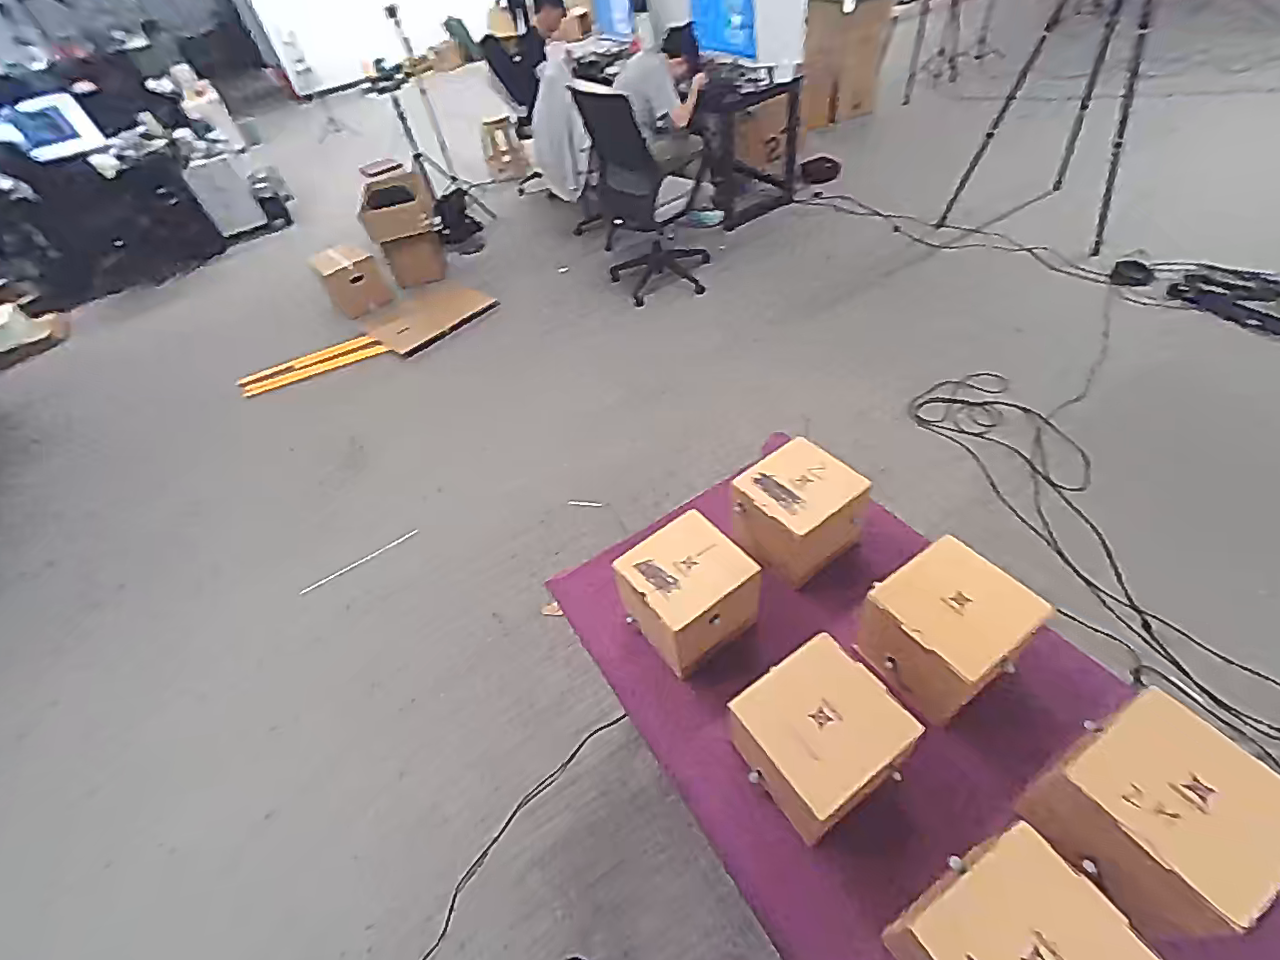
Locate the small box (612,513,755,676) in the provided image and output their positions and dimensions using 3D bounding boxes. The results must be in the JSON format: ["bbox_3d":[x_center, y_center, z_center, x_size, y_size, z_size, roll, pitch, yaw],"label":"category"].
[{"bbox_3d":[0.079,0.197,0.918,0.179,0.176,0.168,-31,49,-19],"label":"small box"}]

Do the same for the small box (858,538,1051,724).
[{"bbox_3d":[0.454,0.228,0.813,0.179,0.176,0.168,-32,49,-15],"label":"small box"}]

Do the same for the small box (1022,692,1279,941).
[{"bbox_3d":[0.594,0.389,0.629,0.179,0.176,0.168,-30,48,-14],"label":"small box"}]

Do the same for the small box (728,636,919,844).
[{"bbox_3d":[0.239,0.356,0.741,0.179,0.176,0.168,-30,48,-15],"label":"small box"}]

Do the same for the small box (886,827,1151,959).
[{"bbox_3d":[0.387,0.509,0.565,0.179,0.176,0.168,-28,47,-15],"label":"small box"}]
